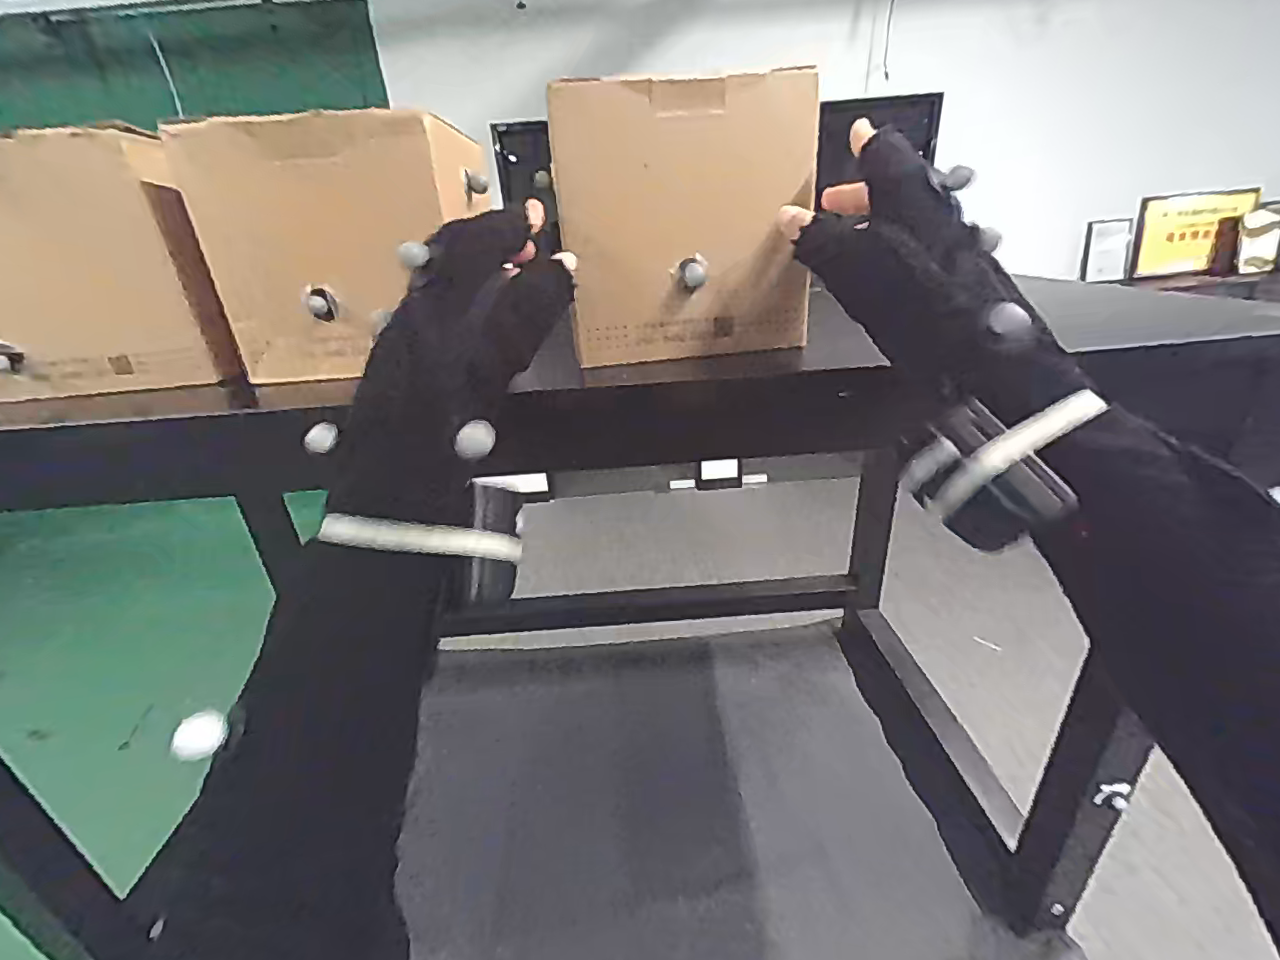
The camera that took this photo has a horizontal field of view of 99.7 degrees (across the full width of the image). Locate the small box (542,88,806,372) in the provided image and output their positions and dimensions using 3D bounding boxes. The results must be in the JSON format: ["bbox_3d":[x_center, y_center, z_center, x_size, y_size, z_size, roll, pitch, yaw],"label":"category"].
[{"bbox_3d":[0.018,-0.189,0.434,0.168,0.176,0.179,-7,25,-5],"label":"small box"}]
